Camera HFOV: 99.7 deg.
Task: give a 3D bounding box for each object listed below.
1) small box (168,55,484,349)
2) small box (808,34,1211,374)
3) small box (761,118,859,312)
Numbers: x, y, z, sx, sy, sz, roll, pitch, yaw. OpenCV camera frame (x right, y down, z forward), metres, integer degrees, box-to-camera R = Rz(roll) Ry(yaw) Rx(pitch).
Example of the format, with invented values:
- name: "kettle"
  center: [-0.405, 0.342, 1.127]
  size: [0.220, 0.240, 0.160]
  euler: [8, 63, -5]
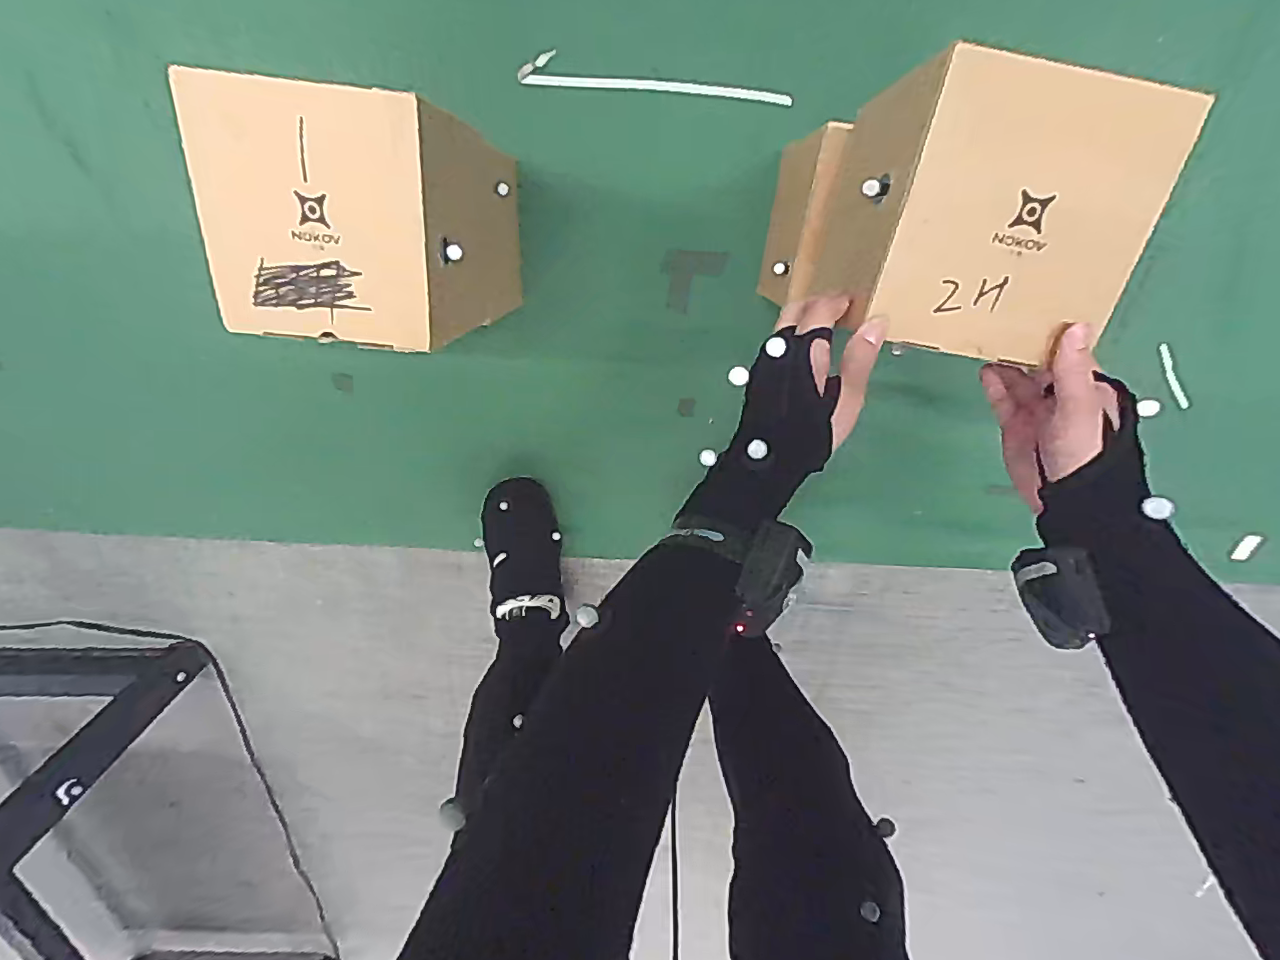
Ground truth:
- name: "small box"
  center: [-0.236, -0.224, 0.463]
  size: [0.168, 0.176, 0.179]
  euler: [6, 115, -3]
- name: "small box"
  center: [0.252, -0.200, 0.427]
  size: [0.168, 0.176, 0.179]
  euler: [10, 113, -4]
- name: "small box"
  center: [0.247, -0.287, 0.614]
  size: [0.168, 0.176, 0.179]
  euler: [6, 117, -3]
